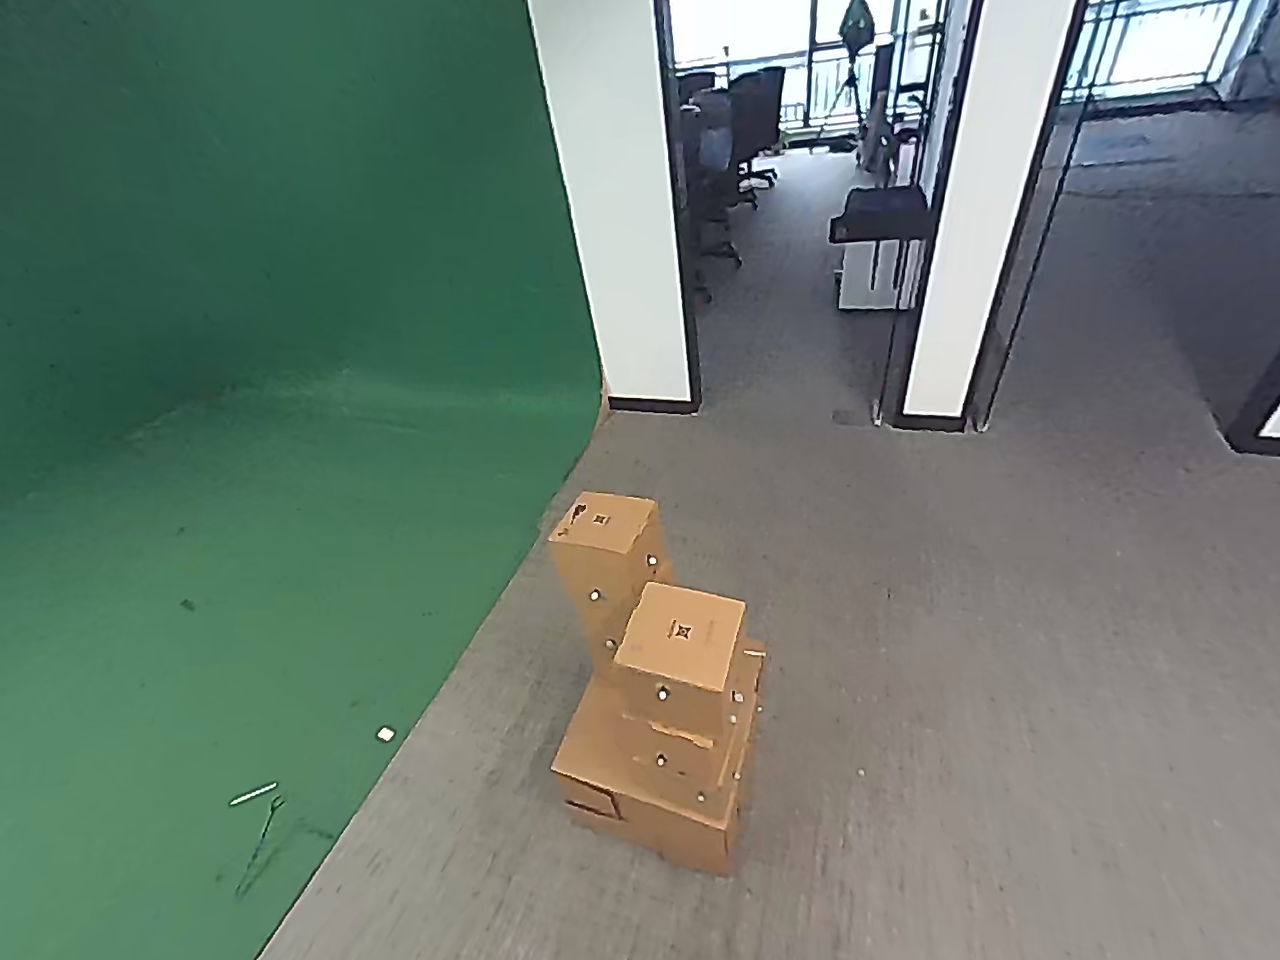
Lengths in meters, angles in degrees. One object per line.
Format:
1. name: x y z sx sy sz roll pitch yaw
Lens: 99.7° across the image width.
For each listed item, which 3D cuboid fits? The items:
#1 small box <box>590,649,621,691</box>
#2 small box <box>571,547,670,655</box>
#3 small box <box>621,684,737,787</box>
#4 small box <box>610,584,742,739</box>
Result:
1. small box: -0.016 0.406 1.341 0.168 0.176 0.179 6 38 21
2. small box: -0.034 0.283 1.231 0.168 0.176 0.179 8 39 22
3. small box: 0.080 0.432 1.014 0.168 0.176 0.179 11 43 22
4. small box: 0.069 0.305 0.910 0.179 0.176 0.168 9 43 19
